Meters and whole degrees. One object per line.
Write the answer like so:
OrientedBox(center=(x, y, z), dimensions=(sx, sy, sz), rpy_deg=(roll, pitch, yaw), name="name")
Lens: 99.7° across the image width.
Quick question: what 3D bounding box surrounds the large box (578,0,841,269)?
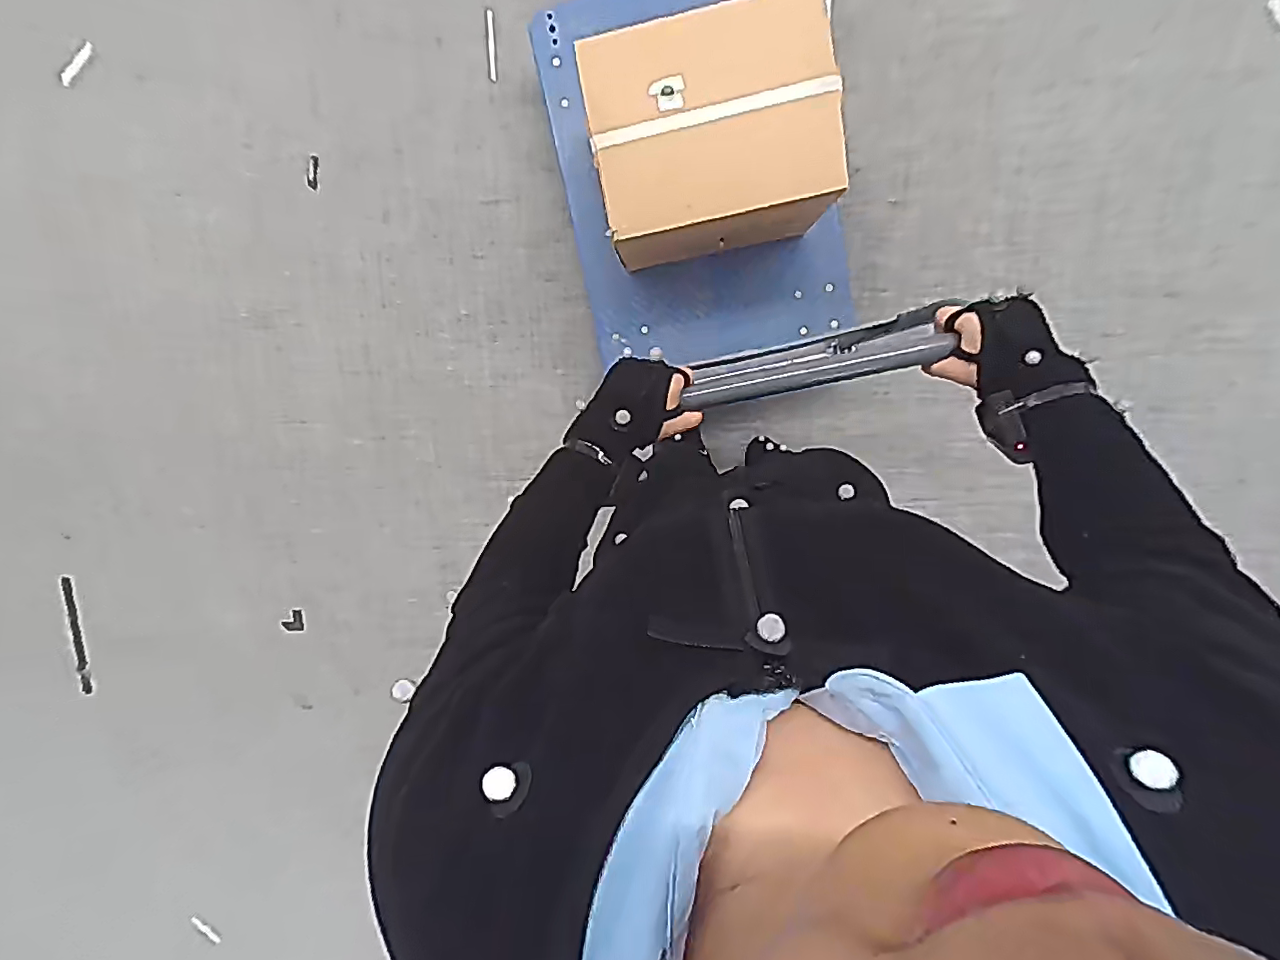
OrientedBox(center=(0.130, -0.635, 1.053), dimensions=(0.408, 0.320, 0.320), rpy_deg=(-10, 100, 6), name="large box")
